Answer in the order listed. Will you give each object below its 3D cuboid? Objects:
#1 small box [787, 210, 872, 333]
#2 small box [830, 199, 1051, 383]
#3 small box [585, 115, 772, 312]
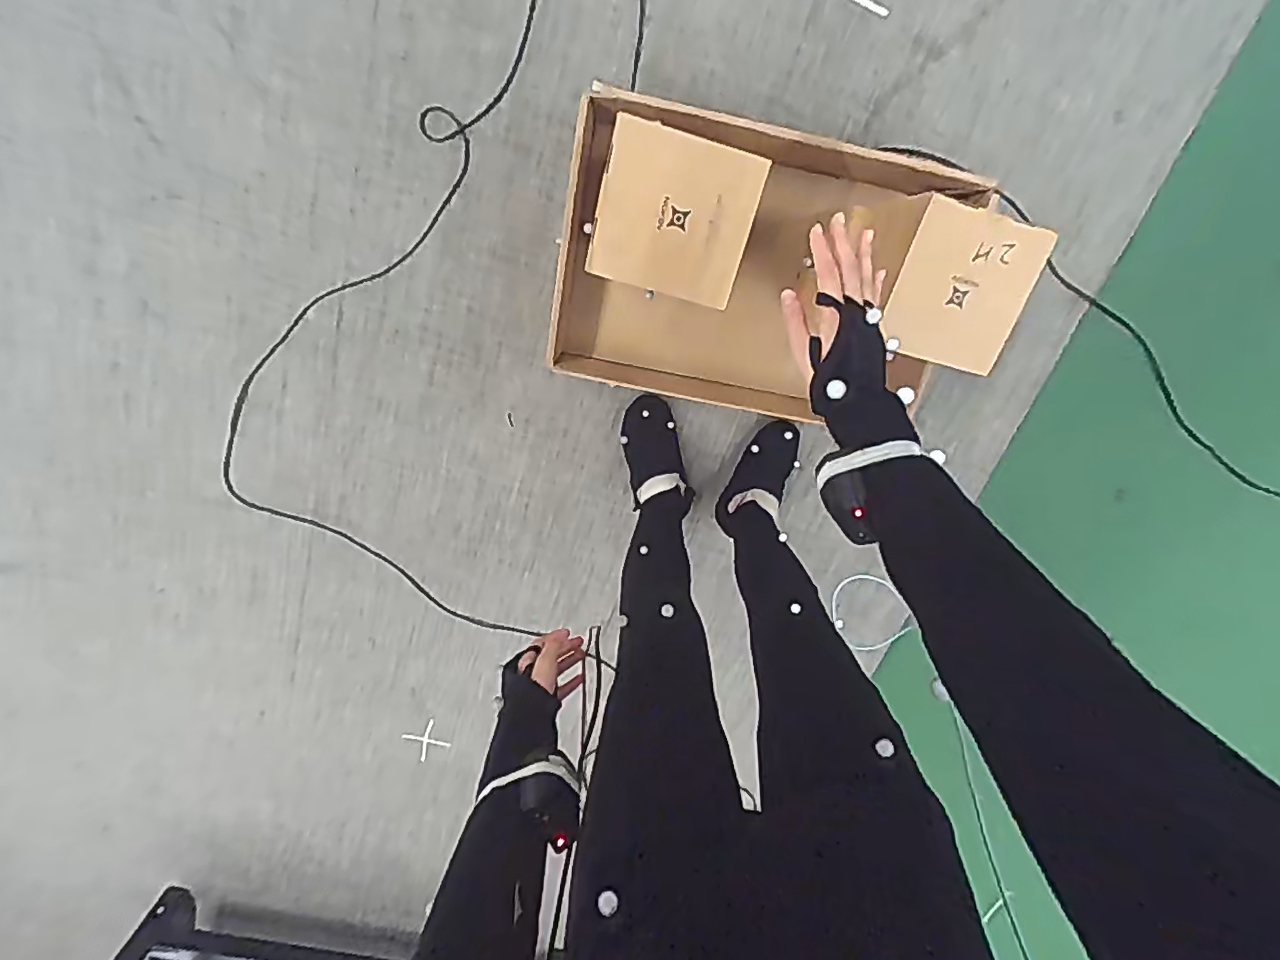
[{"bbox_3d":[0.360,-0.316,0.873,0.179,0.176,0.168,14,111,-7],"label":"small box"},{"bbox_3d":[0.378,-0.250,0.723,0.168,0.176,0.179,14,110,-8],"label":"small box"},{"bbox_3d":[0.038,-0.325,0.685,0.179,0.176,0.168,14,112,-8],"label":"small box"}]
